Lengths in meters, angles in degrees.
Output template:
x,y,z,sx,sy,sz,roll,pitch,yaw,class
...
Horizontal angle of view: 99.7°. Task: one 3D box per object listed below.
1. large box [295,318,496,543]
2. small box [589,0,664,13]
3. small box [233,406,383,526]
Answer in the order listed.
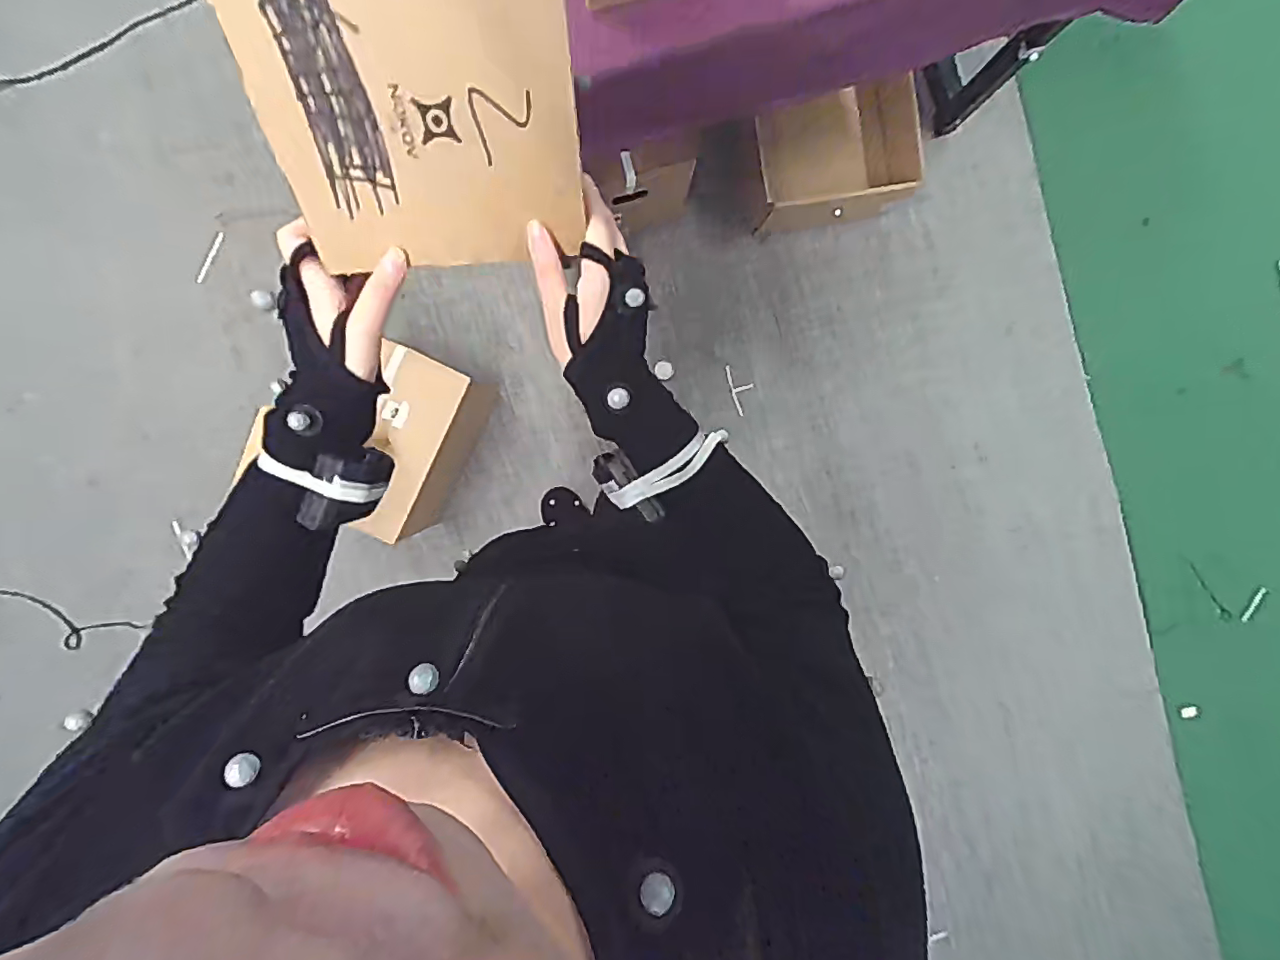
x,y,z,sx,sy,sz,roll,pitch,yaw,class
-0.593,-0.107,1.304,0.320,0.320,0.408,25,90,-5,large box
0.000,-0.713,0.643,0.179,0.176,0.168,-16,94,-2,small box
-0.633,-0.028,1.058,0.168,0.176,0.179,22,92,-3,small box
